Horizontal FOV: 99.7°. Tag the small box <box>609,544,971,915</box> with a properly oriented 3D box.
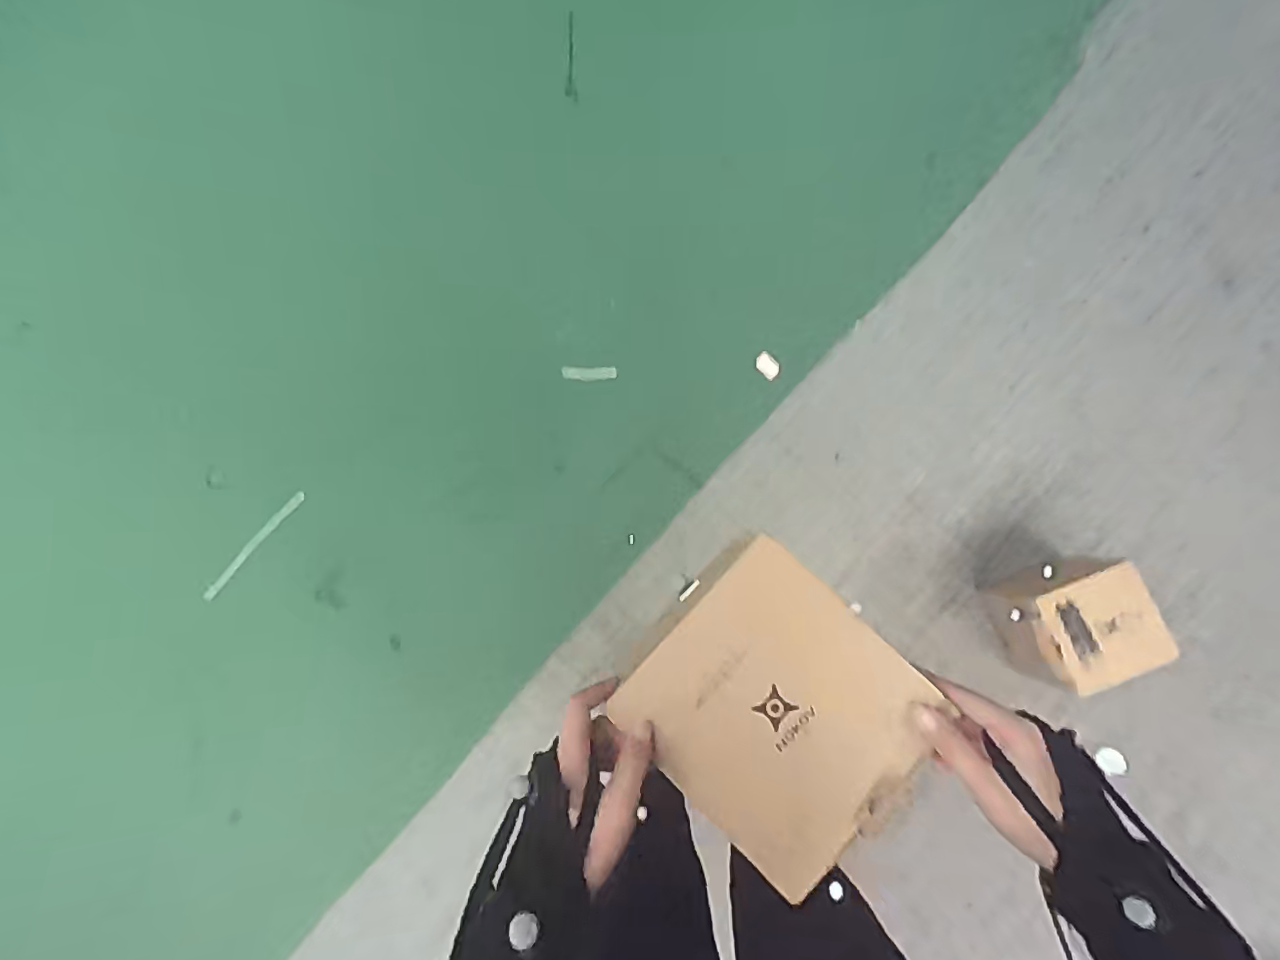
[{"bbox_3d":[0.099,0.165,0.428,0.179,0.176,0.168,43,86,7],"label":"small box"}]
